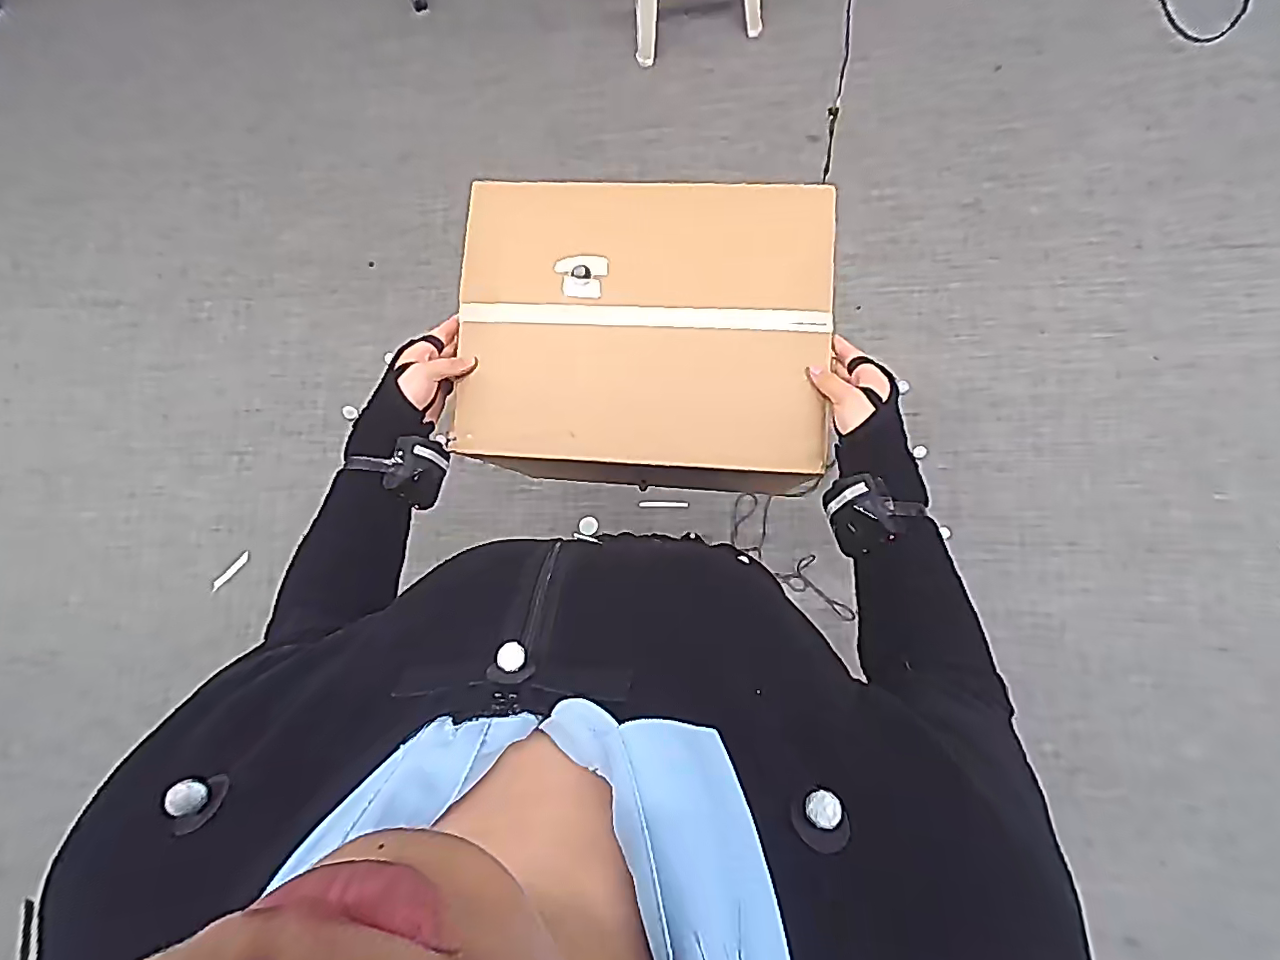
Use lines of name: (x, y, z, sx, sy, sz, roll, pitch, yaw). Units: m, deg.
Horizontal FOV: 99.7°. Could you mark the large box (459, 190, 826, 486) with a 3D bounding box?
large box: (0.017, -0.159, 0.745, 0.408, 0.320, 0.320, 3, 84, 6)
